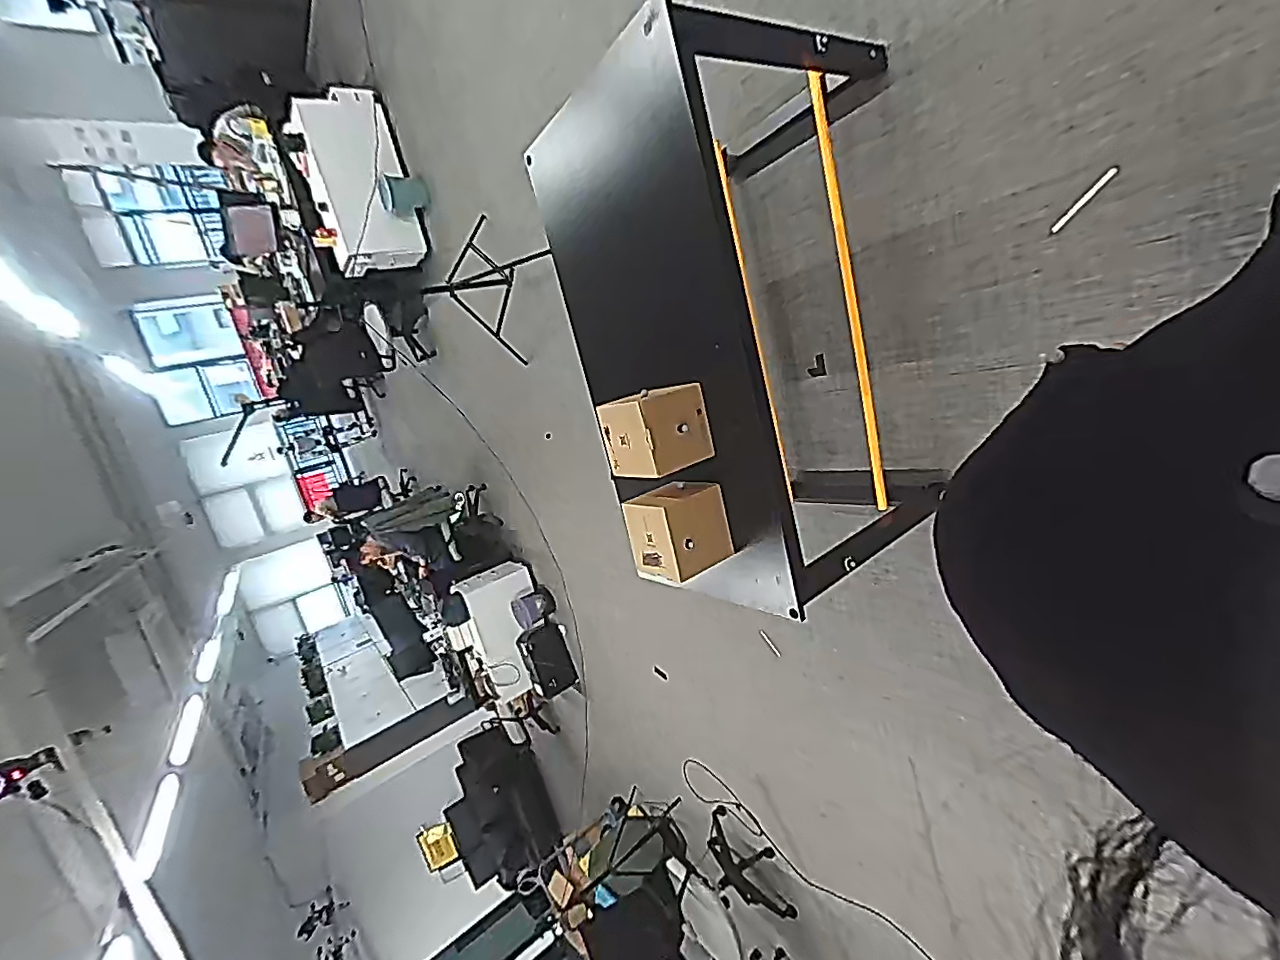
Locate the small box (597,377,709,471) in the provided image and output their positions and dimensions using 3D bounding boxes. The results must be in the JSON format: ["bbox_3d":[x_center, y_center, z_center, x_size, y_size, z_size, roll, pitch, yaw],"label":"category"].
[{"bbox_3d":[0.036,-0.124,1.201,0.179,0.176,0.168,4,112,54],"label":"small box"}]

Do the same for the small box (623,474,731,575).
[{"bbox_3d":[0.090,0.096,1.254,0.168,0.176,0.179,3,111,55],"label":"small box"}]
